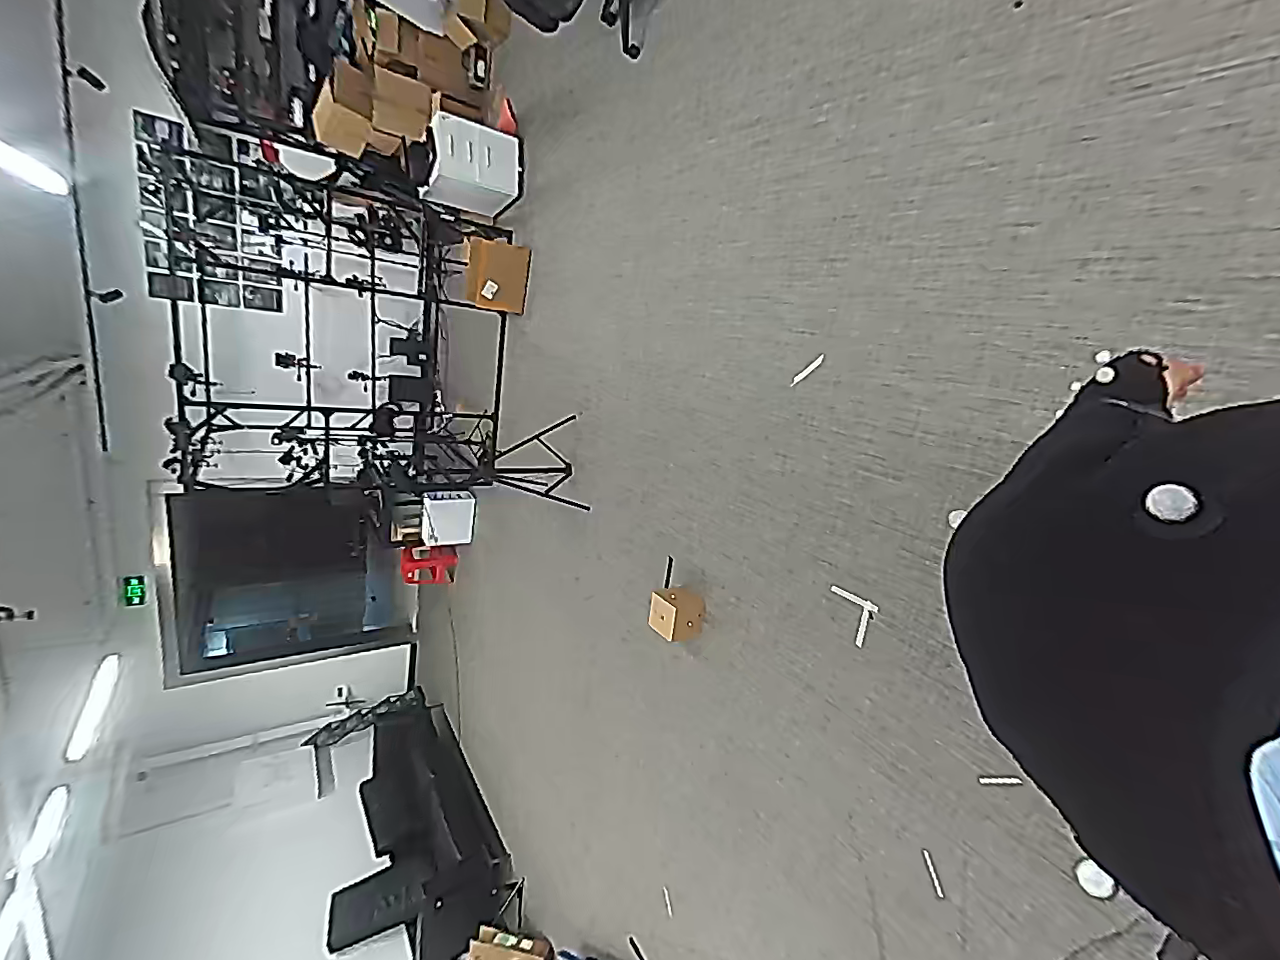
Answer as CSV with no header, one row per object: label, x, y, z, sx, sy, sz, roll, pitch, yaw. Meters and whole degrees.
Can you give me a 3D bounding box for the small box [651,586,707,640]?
small box,0.175,0.581,2.396,0.179,0.176,0.168,25,112,53
